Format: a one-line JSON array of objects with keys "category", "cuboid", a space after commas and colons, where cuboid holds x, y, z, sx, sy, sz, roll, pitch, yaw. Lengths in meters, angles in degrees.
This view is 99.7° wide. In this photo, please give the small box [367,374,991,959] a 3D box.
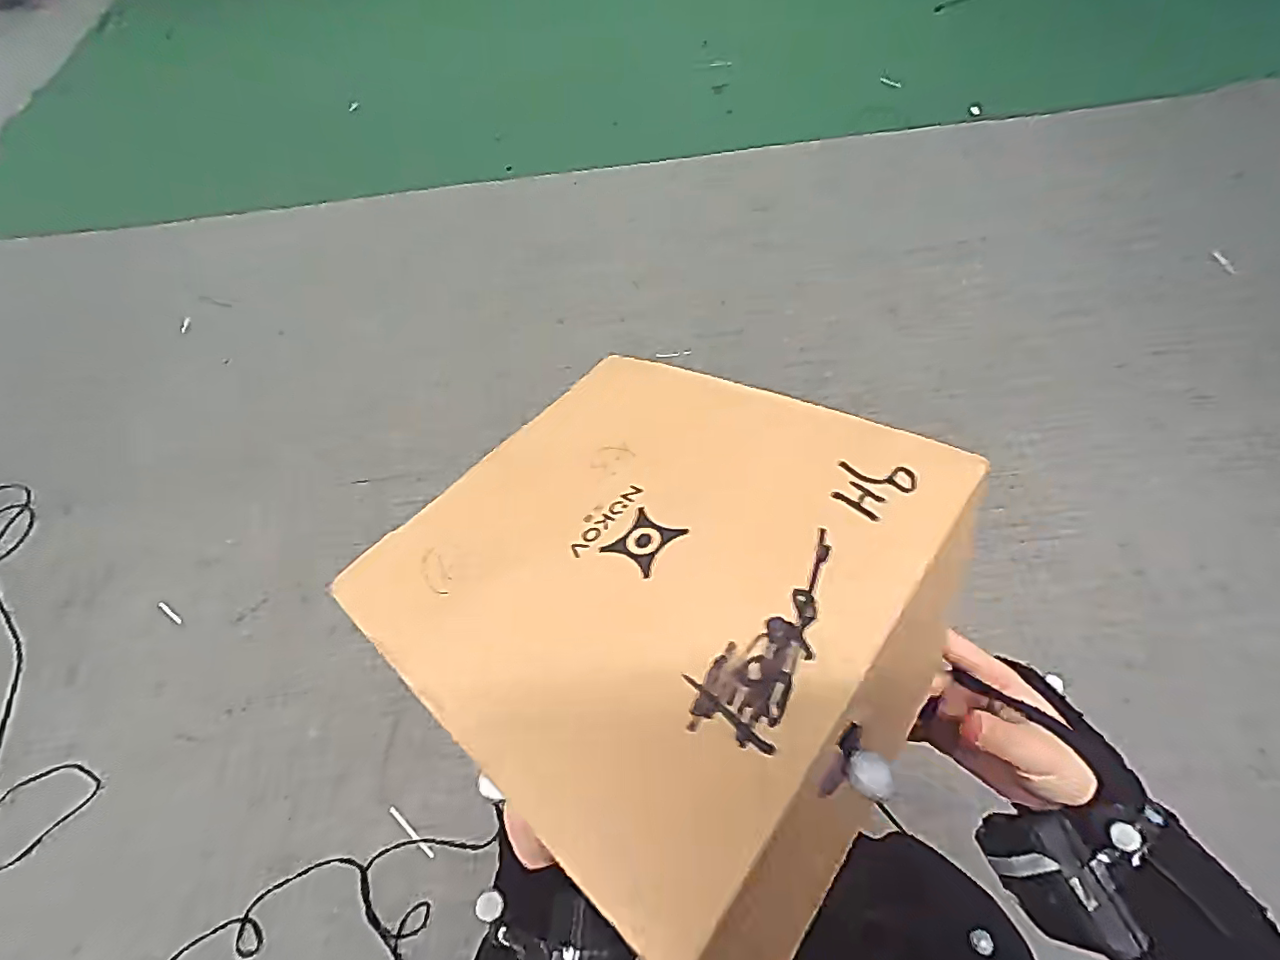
[{"category": "small box", "cuboid": [0.024, 0.079, 0.250, 0.179, 0.176, 0.168, 23, 59, 37]}]
